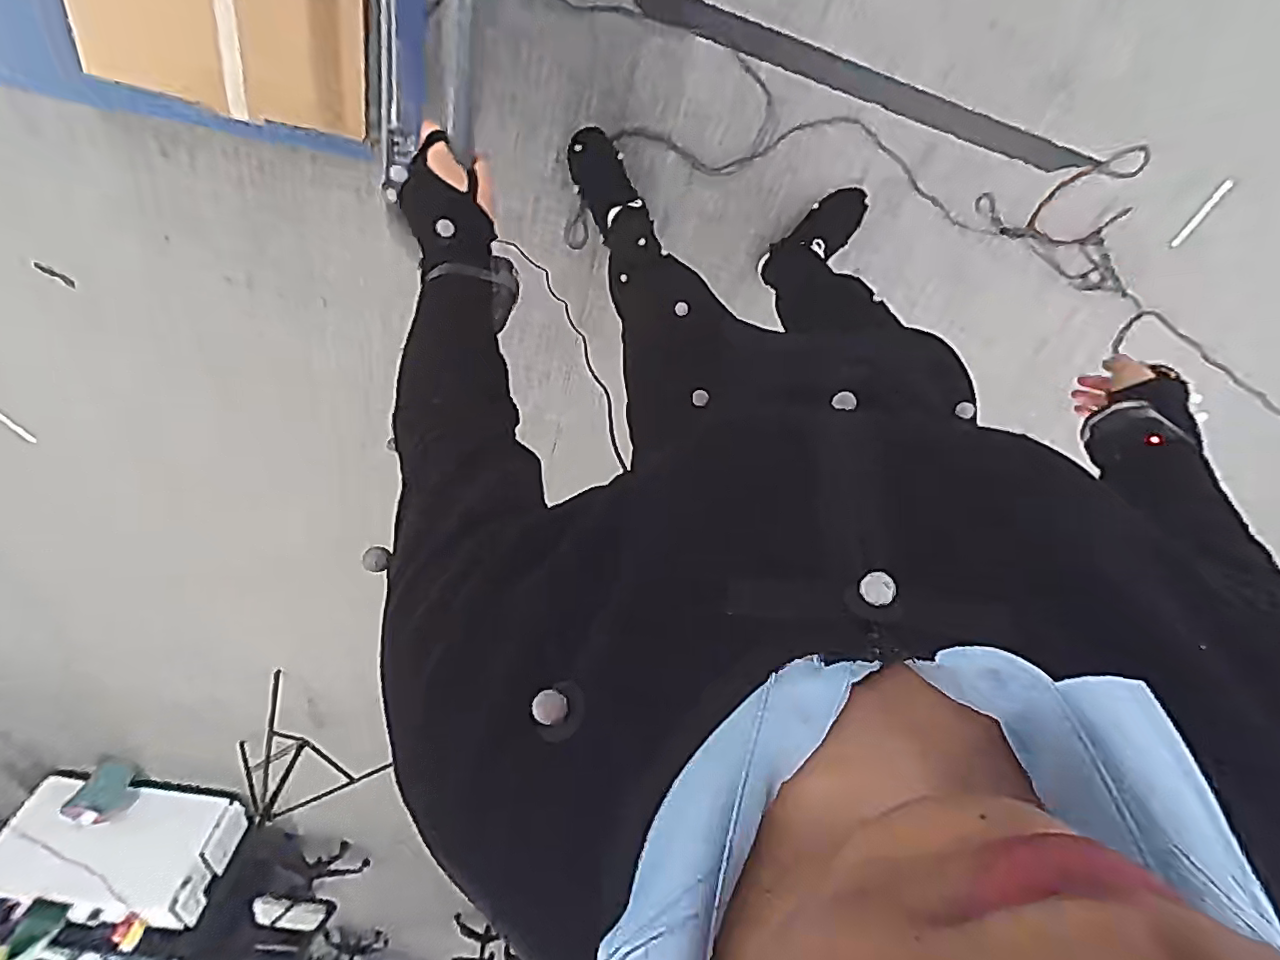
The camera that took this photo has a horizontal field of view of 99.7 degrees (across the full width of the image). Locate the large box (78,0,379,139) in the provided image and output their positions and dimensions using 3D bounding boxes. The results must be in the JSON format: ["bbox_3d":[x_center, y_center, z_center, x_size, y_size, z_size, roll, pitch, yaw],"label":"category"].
[{"bbox_3d":[-0.534,-0.747,0.728,0.320,0.320,0.408,-1,130,-25],"label":"large box"}]
